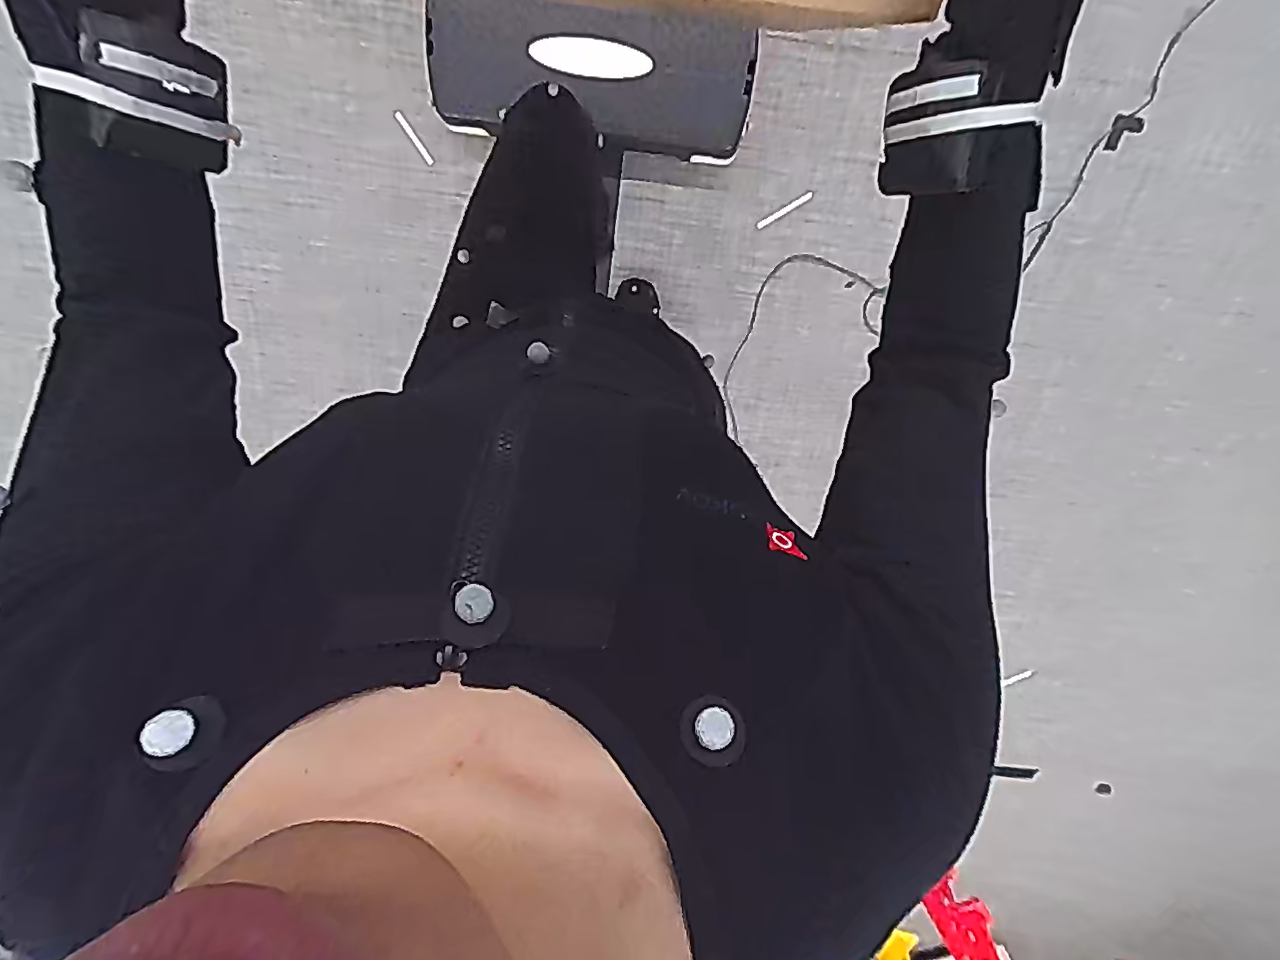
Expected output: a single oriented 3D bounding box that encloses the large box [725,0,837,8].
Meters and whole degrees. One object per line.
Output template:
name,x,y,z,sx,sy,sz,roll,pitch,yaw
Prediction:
large box,-0.017,-0.504,0.317,0.408,0.320,0.320,4,130,-4
